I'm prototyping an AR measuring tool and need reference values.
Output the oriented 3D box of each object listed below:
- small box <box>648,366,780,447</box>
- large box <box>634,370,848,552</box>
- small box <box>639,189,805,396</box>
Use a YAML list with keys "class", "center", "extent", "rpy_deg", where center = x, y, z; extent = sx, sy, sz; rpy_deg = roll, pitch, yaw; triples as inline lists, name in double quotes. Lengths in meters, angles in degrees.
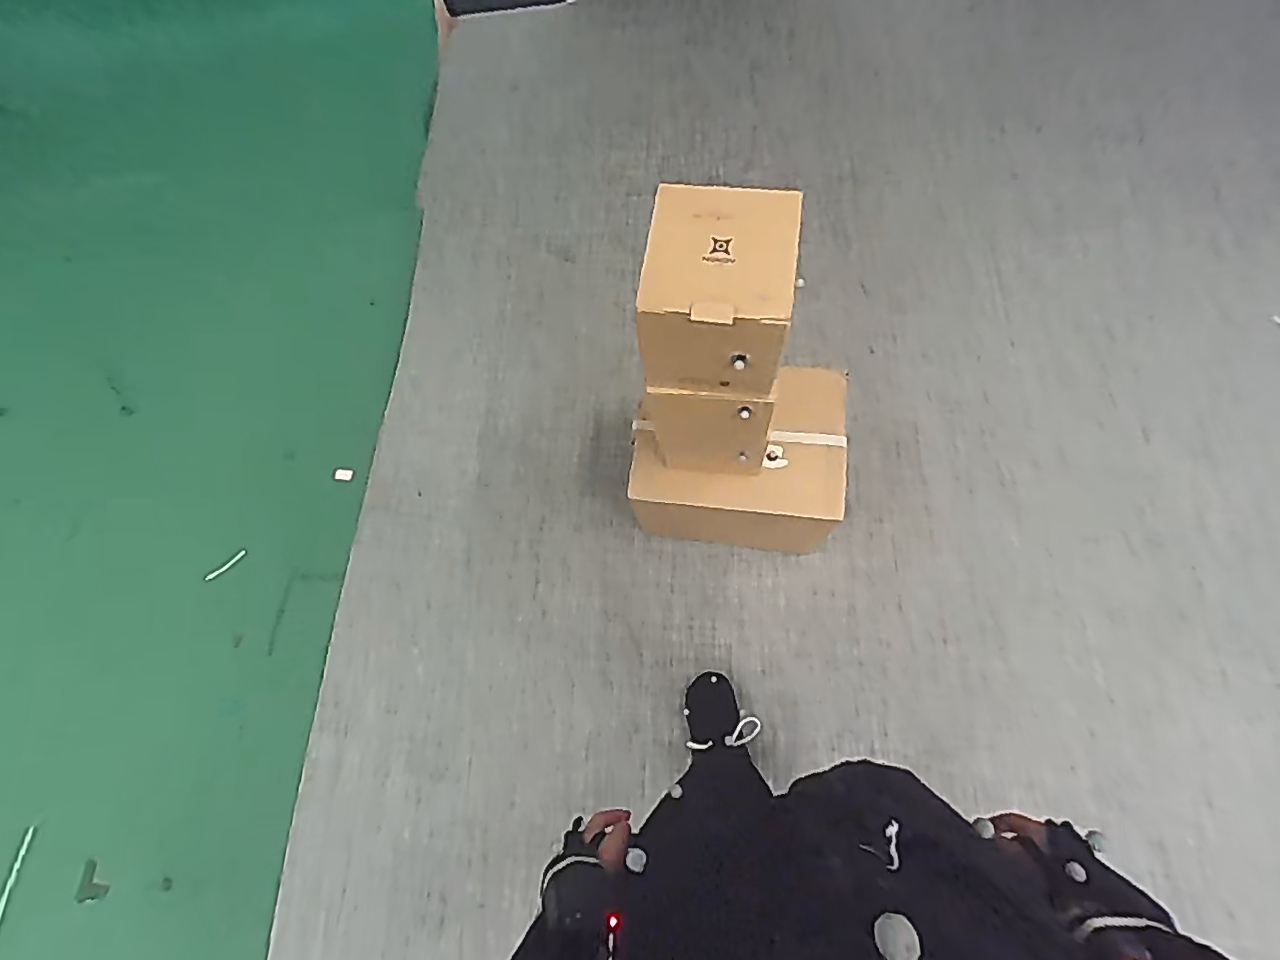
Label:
- class: "small box"
  center: [0.113, -0.157, 0.814]
  extent: [0.179, 0.176, 0.168]
  rpy_deg: [4, 71, 7]
- class: "large box"
  center: [0.211, -0.037, 1.194]
  extent: [0.408, 0.320, 0.320]
  rpy_deg: [6, 73, 7]
- class: "small box"
  center: [0.098, -0.220, 0.665]
  extent: [0.168, 0.176, 0.179]
  rpy_deg: [7, 71, 7]
